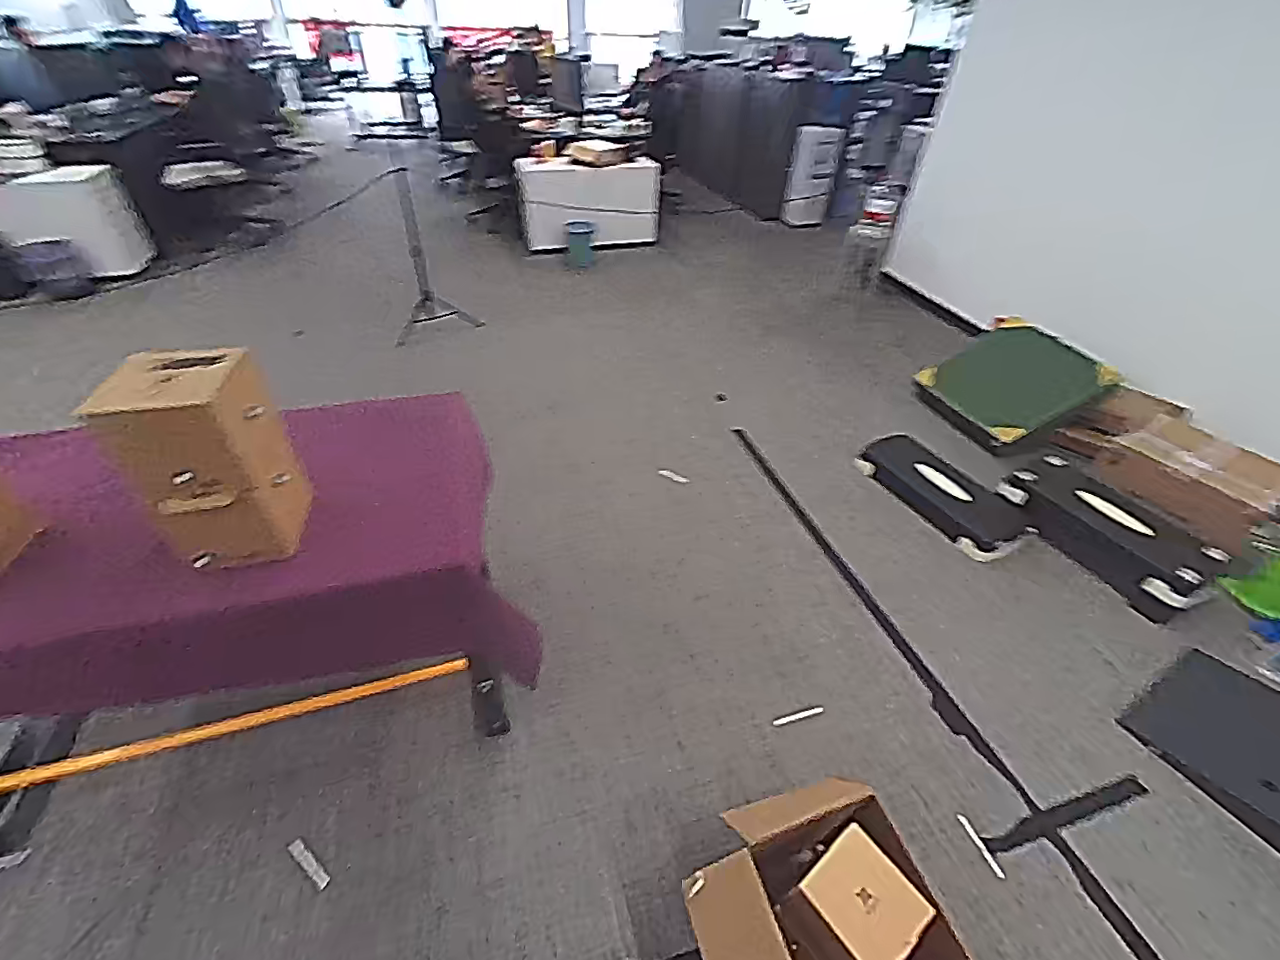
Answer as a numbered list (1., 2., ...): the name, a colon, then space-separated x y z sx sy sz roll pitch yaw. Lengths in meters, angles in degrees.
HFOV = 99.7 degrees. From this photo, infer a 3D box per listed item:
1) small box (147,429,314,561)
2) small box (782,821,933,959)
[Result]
1. small box: -0.720 0.032 0.979 0.168 0.176 0.179 -7 41 -11
2. small box: 0.393 0.791 1.008 0.168 0.176 0.179 -28 53 -27
